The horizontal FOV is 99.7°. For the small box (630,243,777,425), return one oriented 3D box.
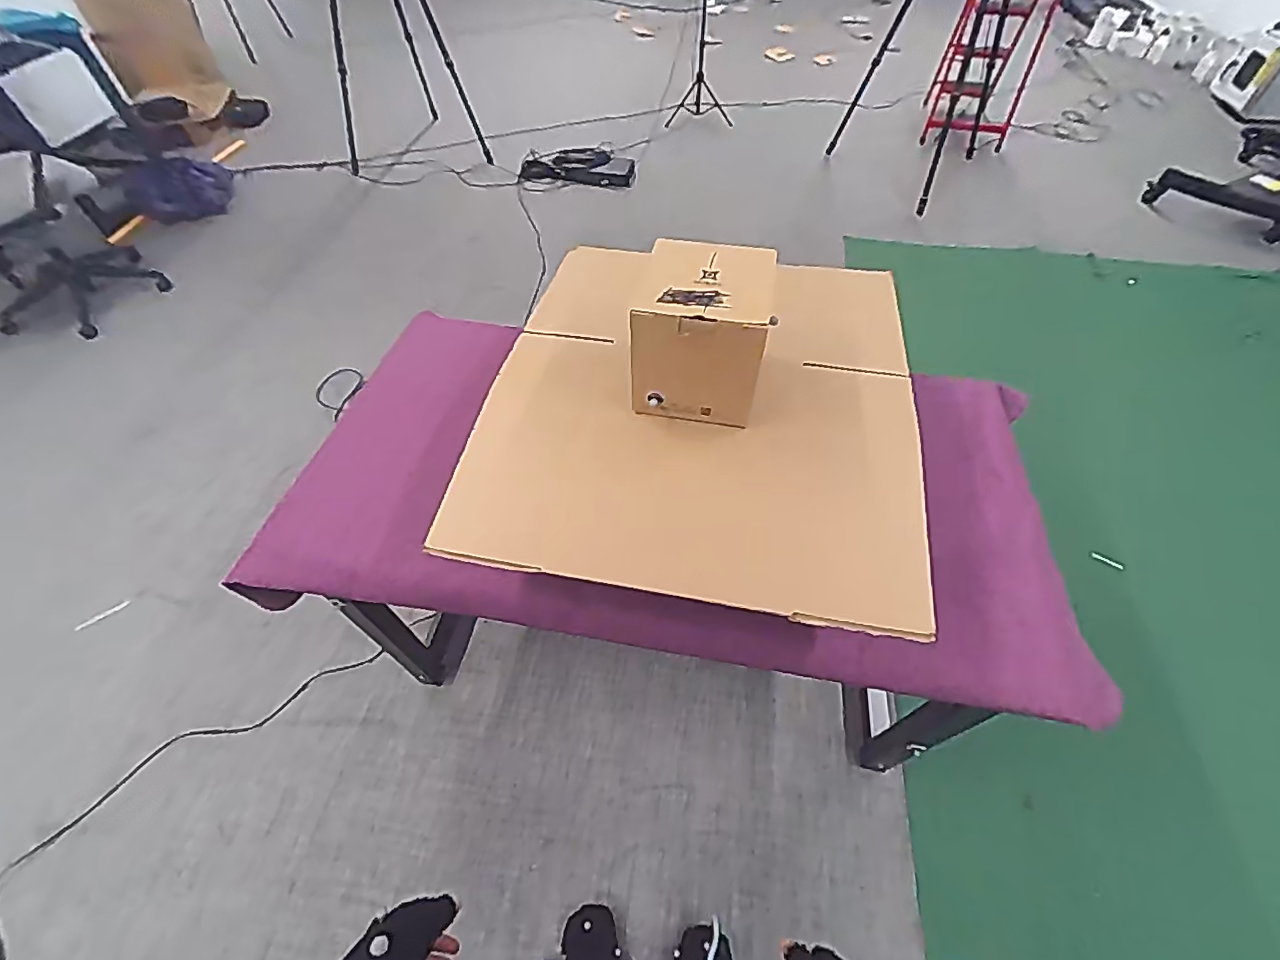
[{"bbox_3d":[0.087,-0.198,0.744,0.168,0.176,0.179,9,52,8],"label":"small box"}]
